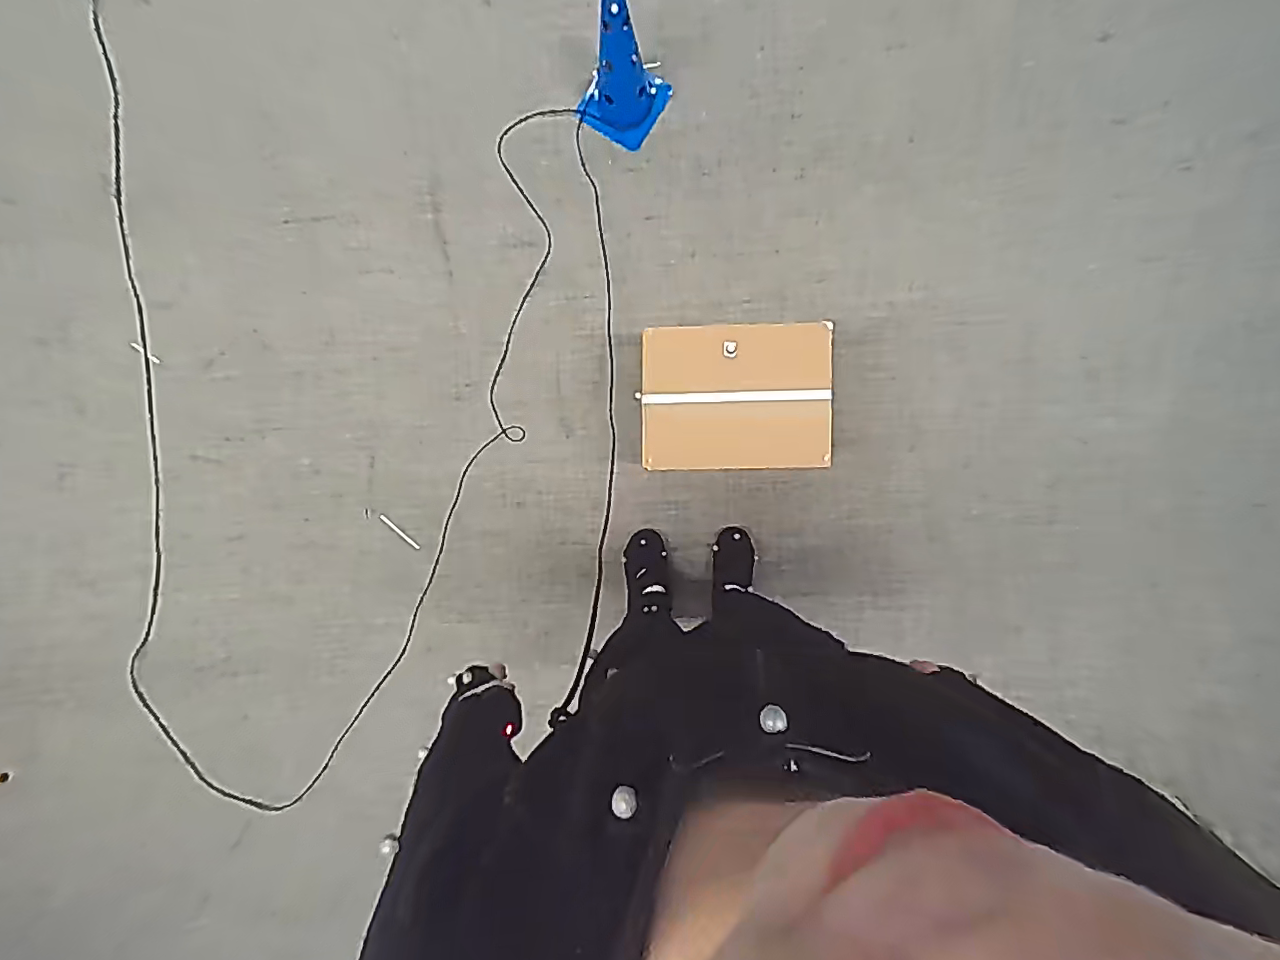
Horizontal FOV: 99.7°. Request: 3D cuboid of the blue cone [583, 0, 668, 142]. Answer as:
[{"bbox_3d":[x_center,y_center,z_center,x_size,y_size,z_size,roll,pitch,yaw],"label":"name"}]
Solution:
[{"bbox_3d":[-0.045,-0.998,1.249,0.192,0.380,0.193,30,92,0],"label":"blue cone"}]
